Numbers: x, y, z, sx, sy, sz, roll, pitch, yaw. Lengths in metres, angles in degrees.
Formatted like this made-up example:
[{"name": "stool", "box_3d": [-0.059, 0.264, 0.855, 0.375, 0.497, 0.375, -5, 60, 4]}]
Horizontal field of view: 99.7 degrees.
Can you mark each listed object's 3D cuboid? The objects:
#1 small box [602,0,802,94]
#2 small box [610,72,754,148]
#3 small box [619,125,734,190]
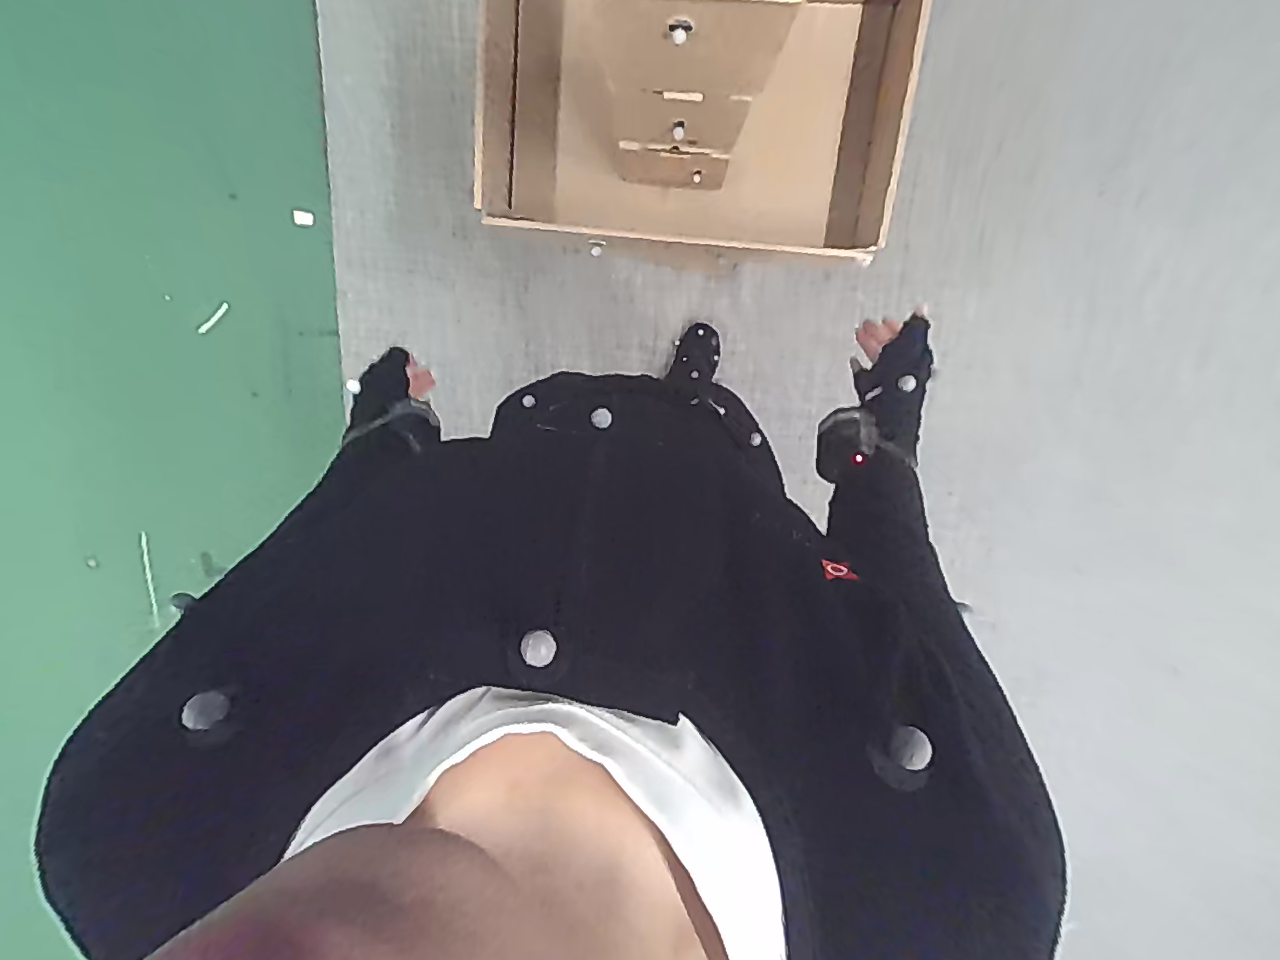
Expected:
[{"name": "small box", "box_3d": [0.055, -0.491, 0.504, 0.179, 0.176, 0.168, 3, 104, 0]}, {"name": "small box", "box_3d": [0.059, -0.533, 0.664, 0.168, 0.176, 0.179, 5, 105, 0]}, {"name": "small box", "box_3d": [0.062, -0.563, 0.825, 0.168, 0.176, 0.179, 5, 102, 0]}]
